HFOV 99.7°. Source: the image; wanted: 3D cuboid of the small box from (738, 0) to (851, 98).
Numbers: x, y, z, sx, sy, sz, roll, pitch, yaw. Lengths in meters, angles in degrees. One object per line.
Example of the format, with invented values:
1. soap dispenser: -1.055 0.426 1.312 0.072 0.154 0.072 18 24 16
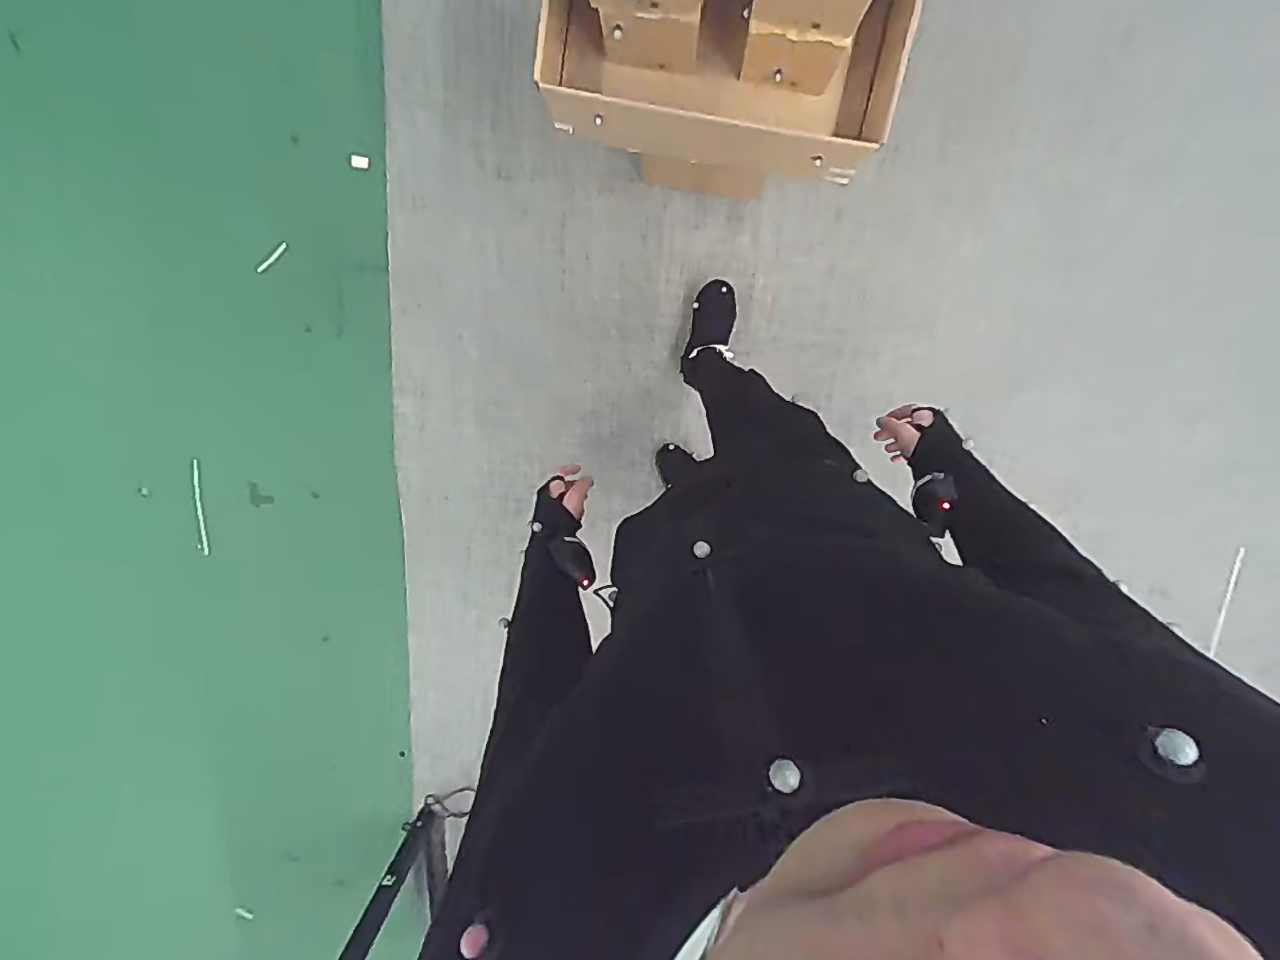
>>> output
1. small box: 0.272 -0.802 0.929 0.168 0.176 0.179 10 104 0

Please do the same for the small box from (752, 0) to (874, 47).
1. small box: 0.266 -0.773 0.768 0.168 0.176 0.179 12 103 0

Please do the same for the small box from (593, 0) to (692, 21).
1. small box: 0.006 -0.809 0.767 0.168 0.176 0.179 7 103 1
